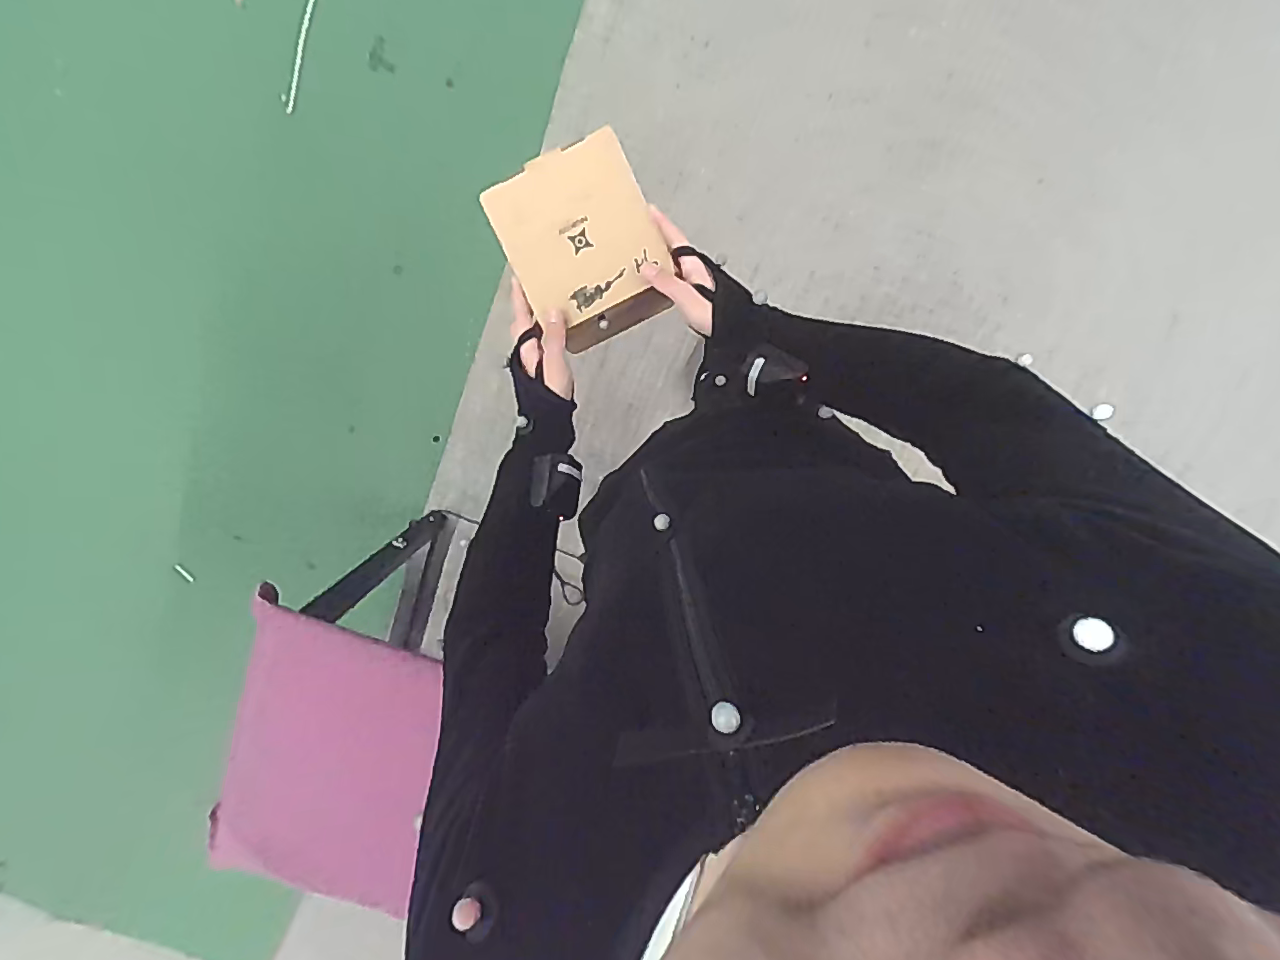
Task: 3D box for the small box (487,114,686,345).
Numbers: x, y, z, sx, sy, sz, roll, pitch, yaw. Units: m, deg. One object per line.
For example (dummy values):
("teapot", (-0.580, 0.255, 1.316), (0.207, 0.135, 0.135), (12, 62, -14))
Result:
("small box", (-0.055, -0.283, 0.657), (0.168, 0.176, 0.179), (-24, 96, 5))
